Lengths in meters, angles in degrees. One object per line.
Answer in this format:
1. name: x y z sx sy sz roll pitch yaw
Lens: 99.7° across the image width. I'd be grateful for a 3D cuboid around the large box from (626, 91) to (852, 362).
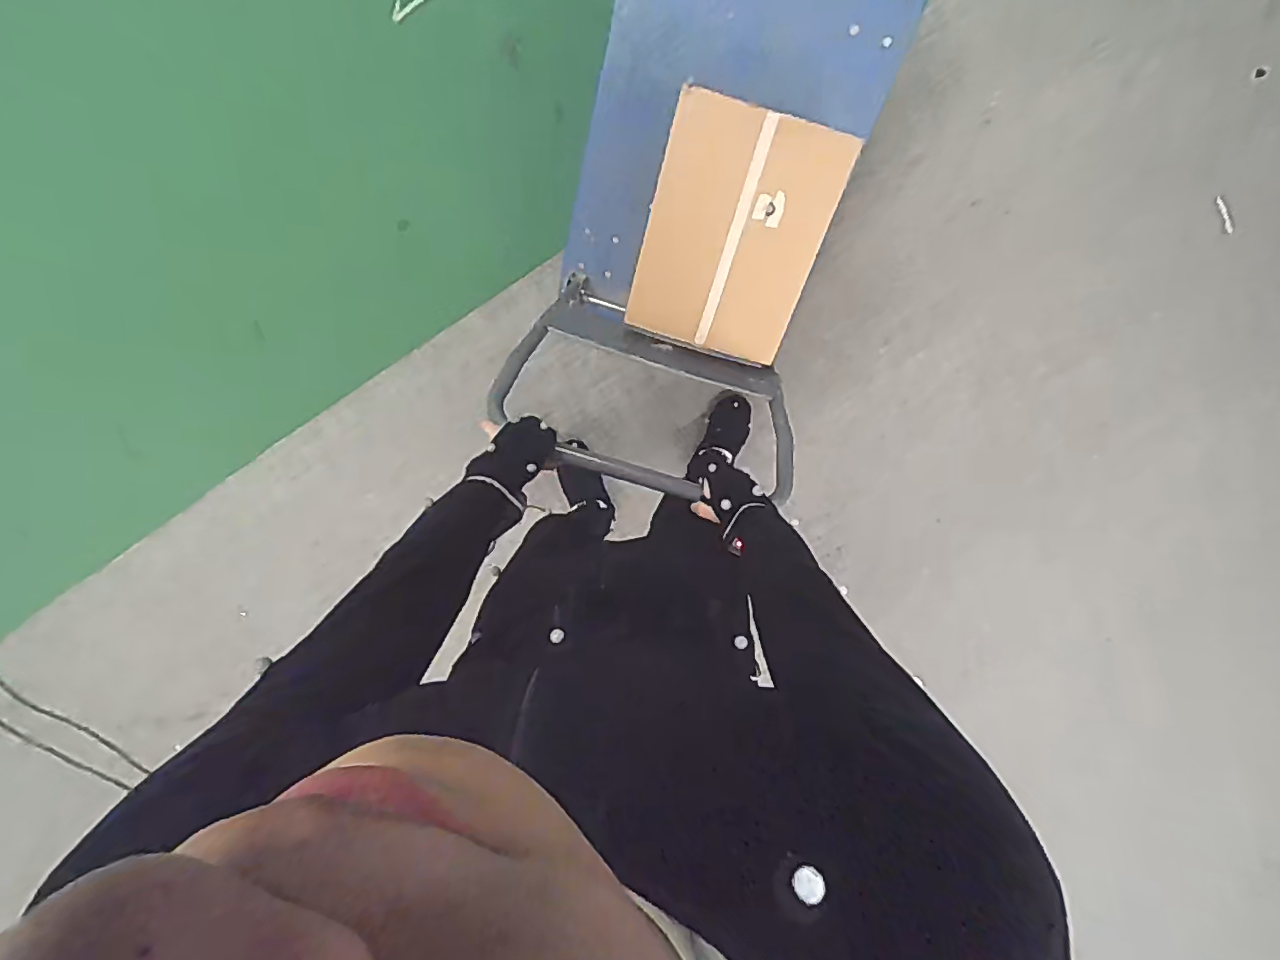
1. large box: 0.184 -0.517 1.137 0.320 0.320 0.408 17 120 -3
